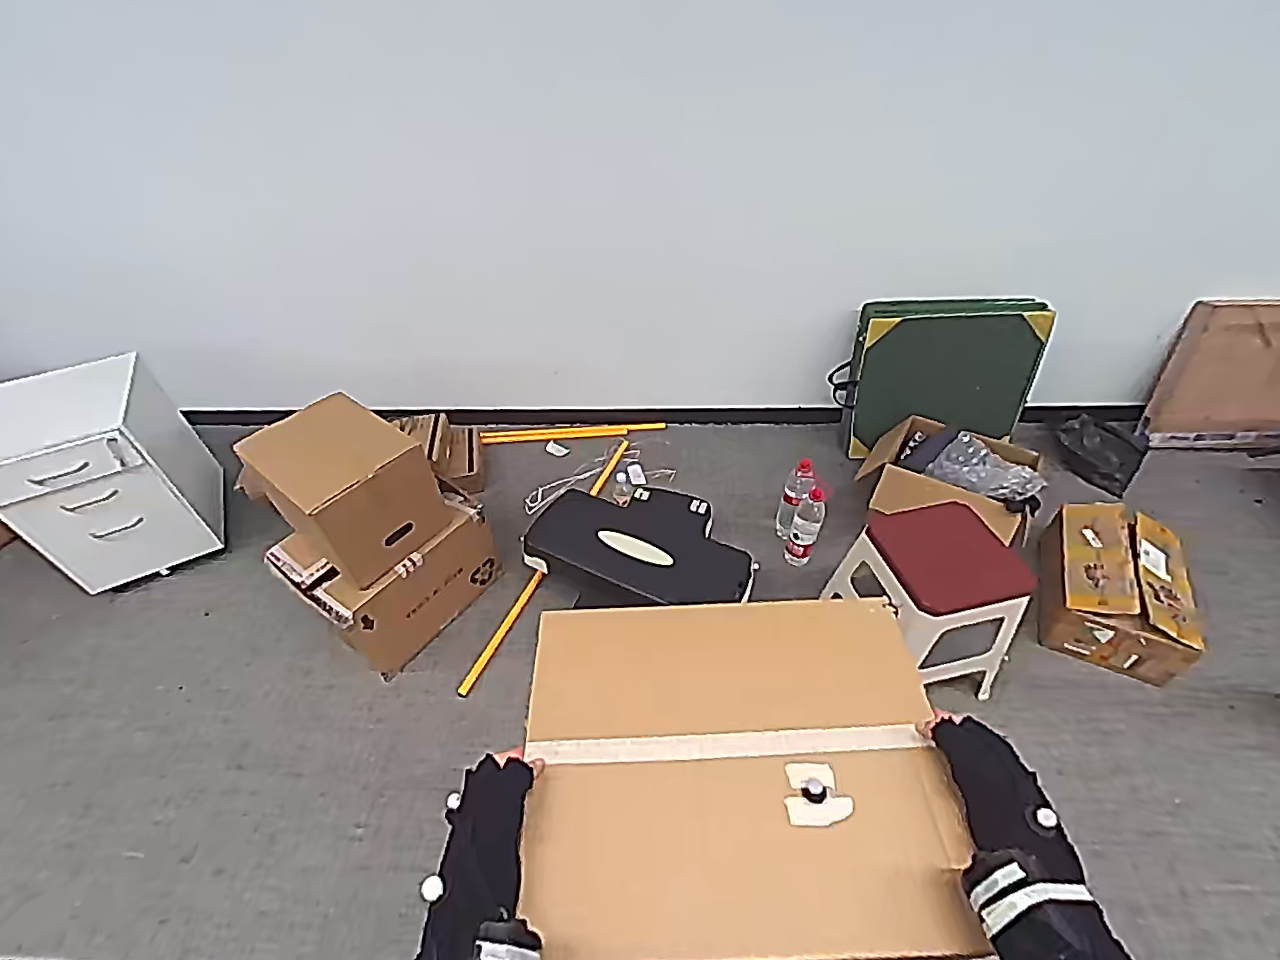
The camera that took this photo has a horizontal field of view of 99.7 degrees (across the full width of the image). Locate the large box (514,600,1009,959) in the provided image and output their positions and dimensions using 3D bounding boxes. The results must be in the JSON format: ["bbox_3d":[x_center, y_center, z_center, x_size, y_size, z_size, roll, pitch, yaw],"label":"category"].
[{"bbox_3d":[0.095,0.365,0.634,0.408,0.320,0.320,-3,46,0],"label":"large box"}]
